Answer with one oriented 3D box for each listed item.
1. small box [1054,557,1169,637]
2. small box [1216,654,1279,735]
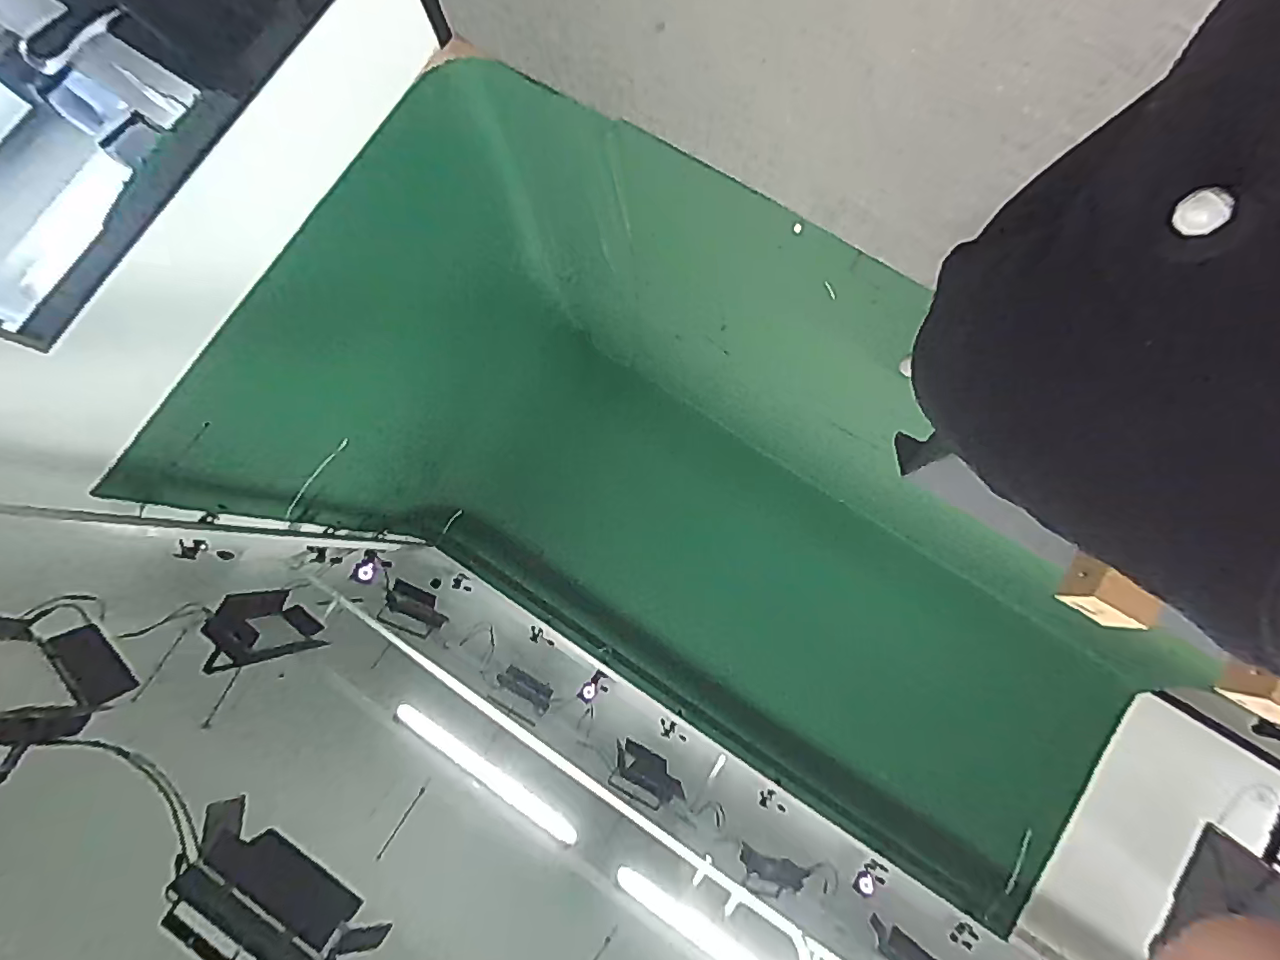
[{"bbox_3d":[1.412,0.346,1.622,0.168,0.176,0.179,33,172,10],"label":"small box"},{"bbox_3d":[1.825,0.613,1.531,0.168,0.176,0.179,33,173,12],"label":"small box"}]
